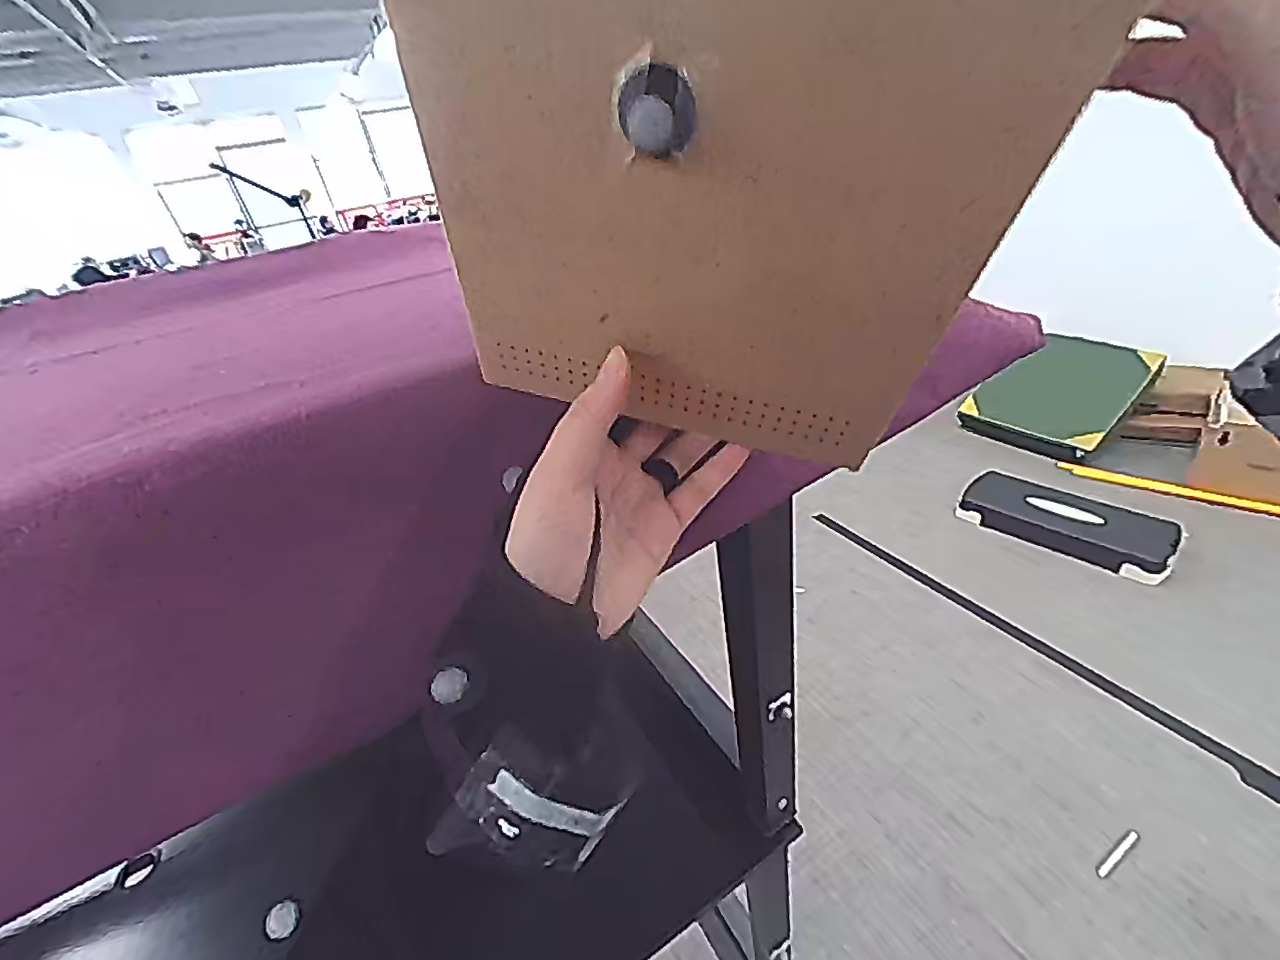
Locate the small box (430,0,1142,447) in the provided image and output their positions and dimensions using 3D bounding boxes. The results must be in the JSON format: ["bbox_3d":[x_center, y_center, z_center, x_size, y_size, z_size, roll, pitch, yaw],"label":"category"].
[{"bbox_3d":[0.038,-0.136,0.216,0.179,0.176,0.168,15,56,6],"label":"small box"}]
